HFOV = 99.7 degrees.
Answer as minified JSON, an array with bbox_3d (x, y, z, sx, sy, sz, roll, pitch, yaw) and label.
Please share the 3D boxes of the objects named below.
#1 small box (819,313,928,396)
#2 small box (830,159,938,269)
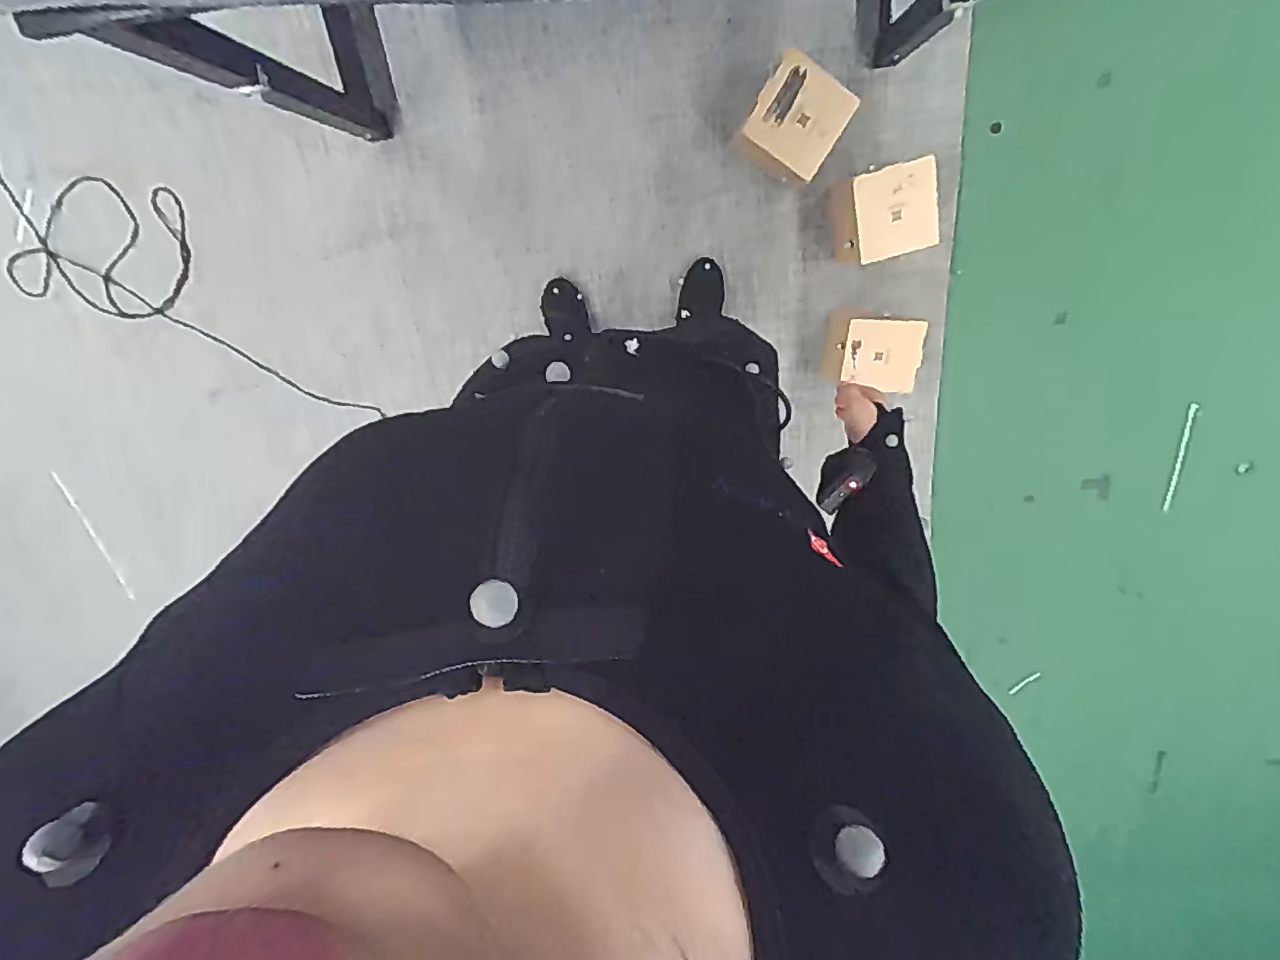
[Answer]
[{"bbox_3d":[0.553,-0.307,1.306,0.179,0.176,0.168,3,114,1],"label":"small box"},{"bbox_3d":[0.531,-0.579,1.190,0.168,0.176,0.179,-13,112,7],"label":"small box"}]
